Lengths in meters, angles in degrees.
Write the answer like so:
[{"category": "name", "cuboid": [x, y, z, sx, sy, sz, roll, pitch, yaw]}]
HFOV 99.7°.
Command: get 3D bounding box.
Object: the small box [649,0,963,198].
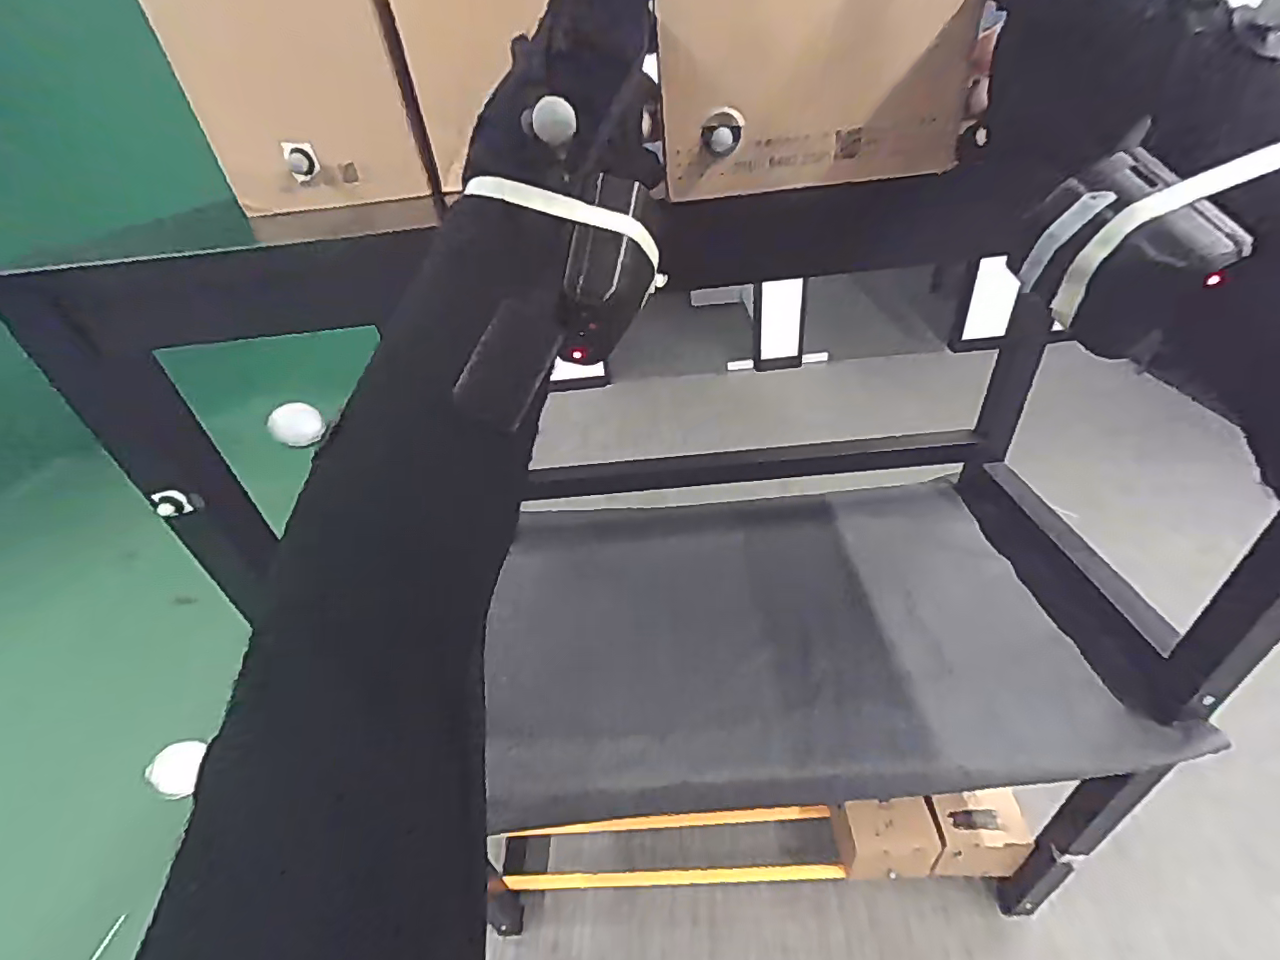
[{"category": "small box", "cuboid": [0.091, -0.288, 0.347, 0.168, 0.176, 0.179, -4, 35, 5]}]
